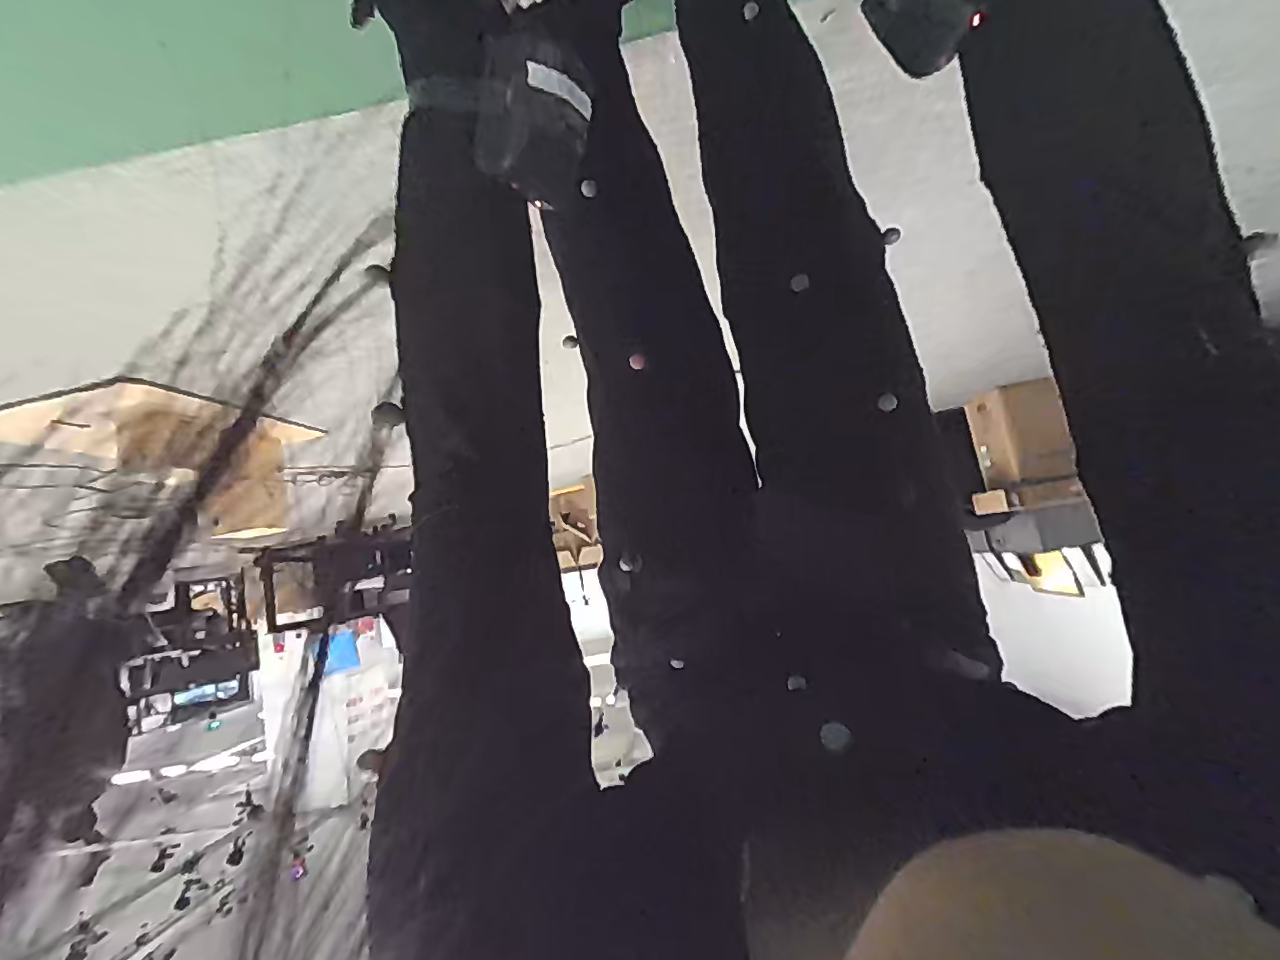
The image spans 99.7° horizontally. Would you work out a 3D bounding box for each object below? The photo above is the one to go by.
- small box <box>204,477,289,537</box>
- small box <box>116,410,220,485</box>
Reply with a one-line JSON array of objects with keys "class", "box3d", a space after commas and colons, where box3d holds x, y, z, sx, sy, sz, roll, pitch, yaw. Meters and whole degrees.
[{"class": "small box", "box3d": [-1.325, 0.095, 1.821, 0.179, 0.176, 0.168, -11, 174, 3]}, {"class": "small box", "box3d": [-1.394, -0.093, 1.601, 0.179, 0.176, 0.168, -12, 172, 8]}]
